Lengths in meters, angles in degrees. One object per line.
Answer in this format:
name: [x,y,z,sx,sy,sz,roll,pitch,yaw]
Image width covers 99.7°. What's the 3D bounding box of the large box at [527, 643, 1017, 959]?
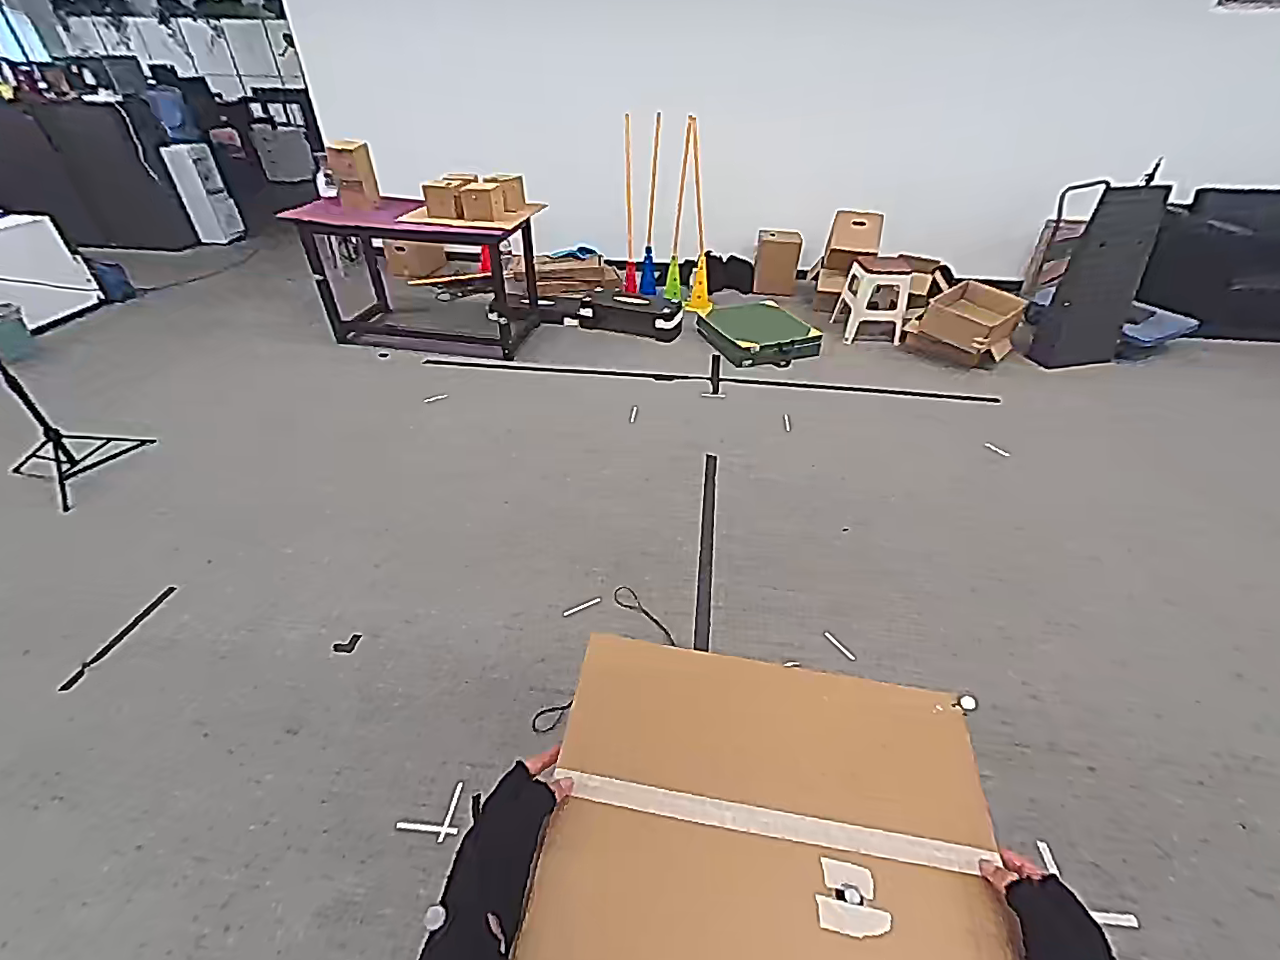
large box: [0.118,0.425,0.611,0.408,0.320,0.320,8,46,6]
